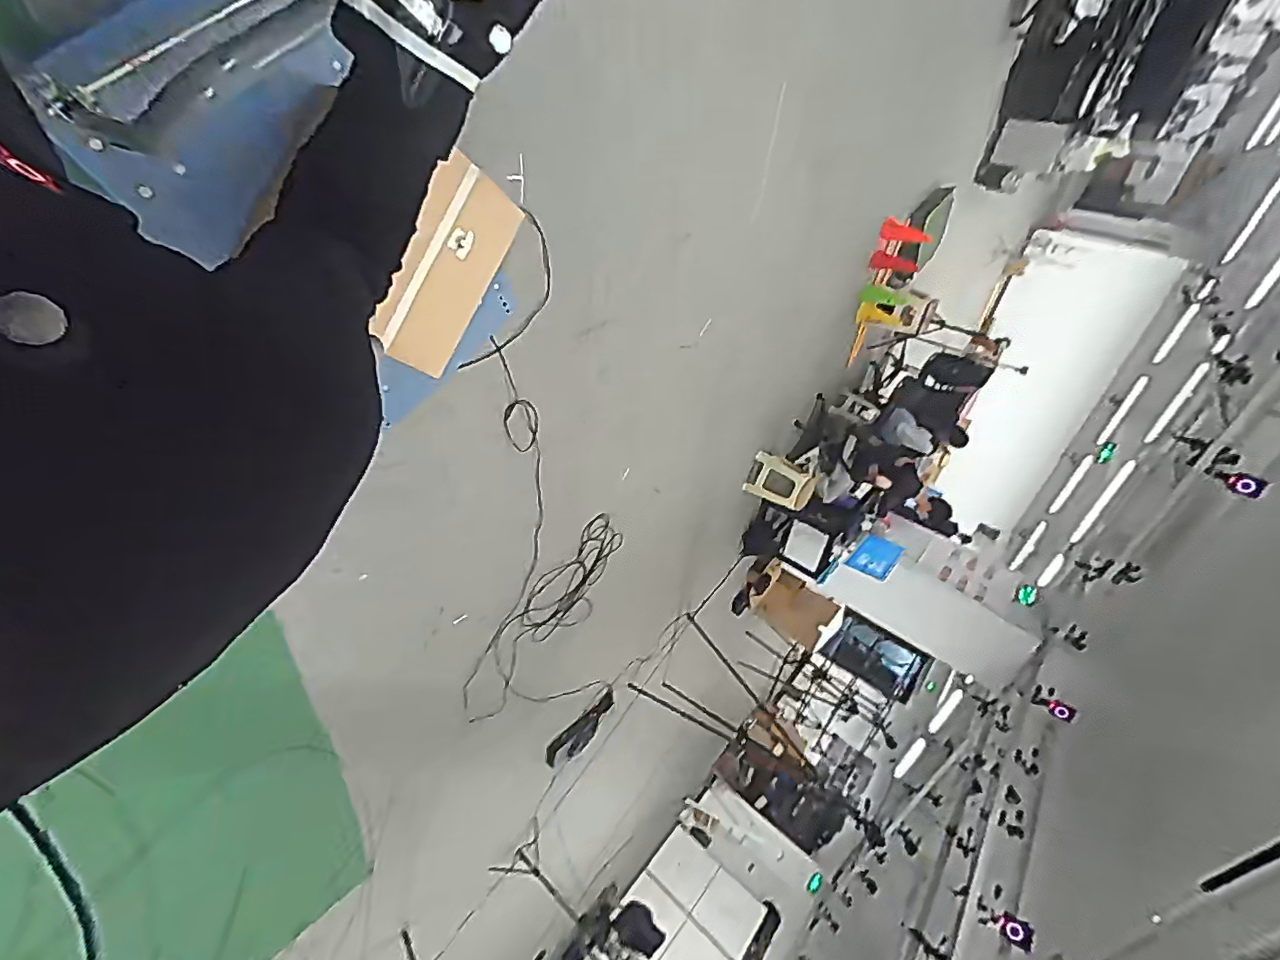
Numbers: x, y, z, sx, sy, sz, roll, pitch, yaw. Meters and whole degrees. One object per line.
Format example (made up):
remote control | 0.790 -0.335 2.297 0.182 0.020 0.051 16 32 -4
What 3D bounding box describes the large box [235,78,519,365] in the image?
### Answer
large box | -0.531 -0.514 1.108 0.408 0.320 0.320 -61 151 2
